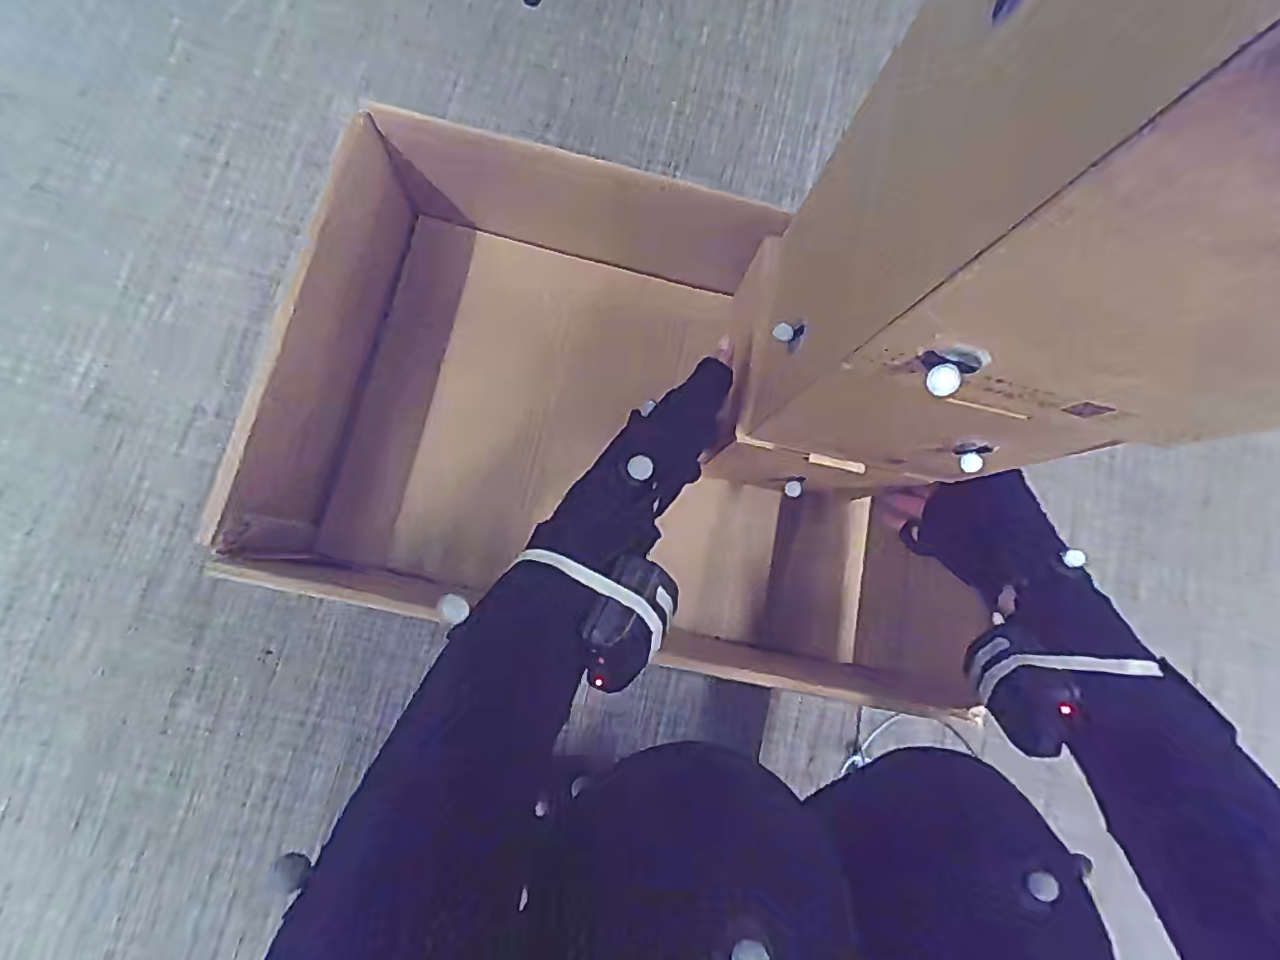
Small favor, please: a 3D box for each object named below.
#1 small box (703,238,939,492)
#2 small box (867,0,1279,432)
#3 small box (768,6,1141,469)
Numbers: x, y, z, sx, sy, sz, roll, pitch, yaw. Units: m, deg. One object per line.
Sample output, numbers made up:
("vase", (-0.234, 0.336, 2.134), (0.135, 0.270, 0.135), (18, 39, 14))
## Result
("small box", (0.158, -0.089, 0.505), (0.168, 0.176, 0.179), (8, 81, -3))
("small box", (0.198, -0.127, 0.180), (0.168, 0.176, 0.179), (13, 81, -4))
("small box", (0.188, -0.113, 0.326), (0.168, 0.176, 0.179), (13, 81, -3))
